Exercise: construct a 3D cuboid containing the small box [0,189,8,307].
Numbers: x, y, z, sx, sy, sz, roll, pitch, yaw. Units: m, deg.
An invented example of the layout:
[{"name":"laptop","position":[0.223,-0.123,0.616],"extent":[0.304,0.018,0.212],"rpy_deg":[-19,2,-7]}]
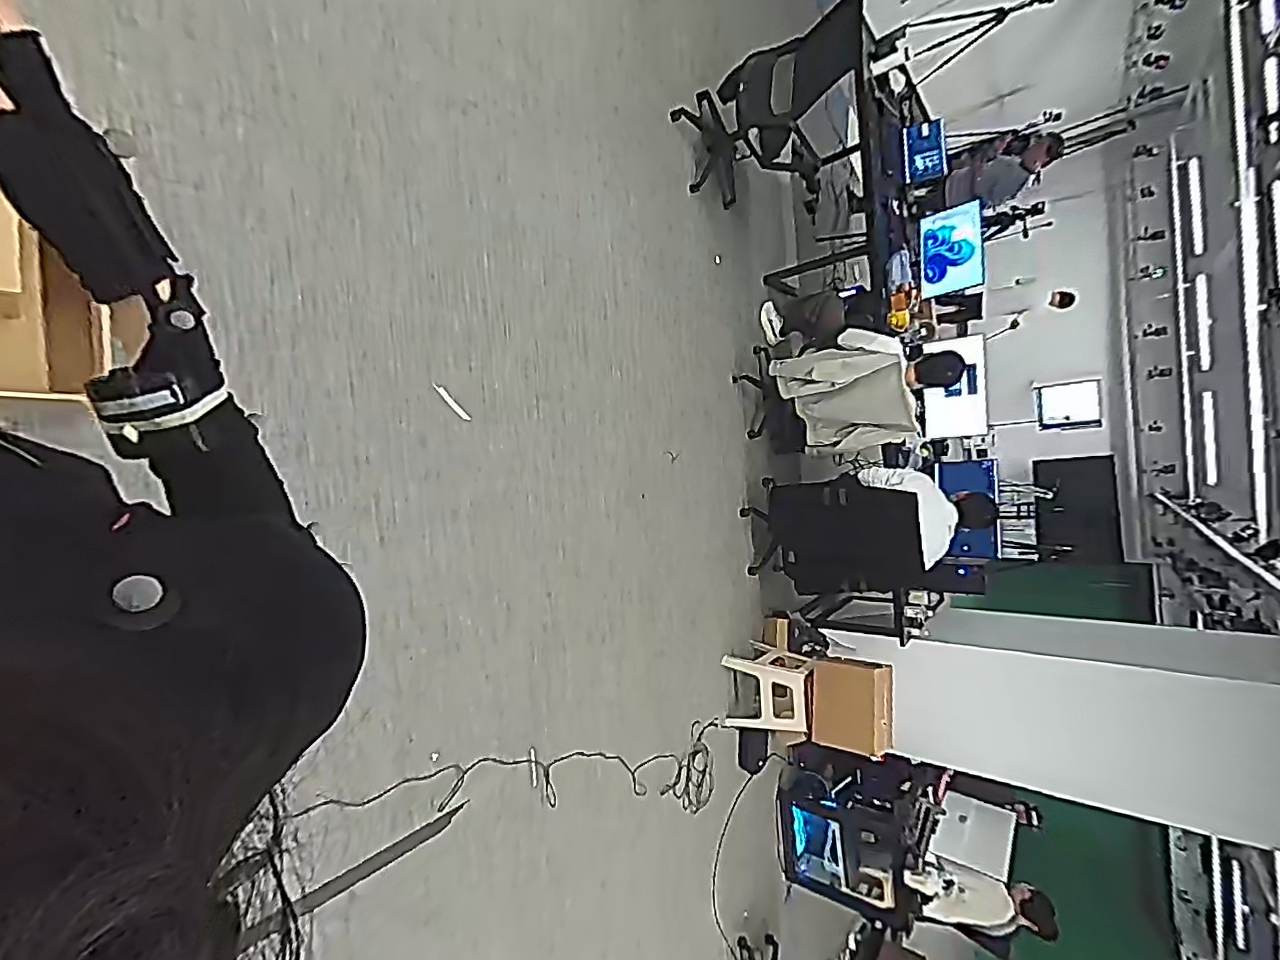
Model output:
[{"name":"small box","position":[-1.169,-0.398,0.887],"extent":[0.168,0.176,0.179],"rpy_deg":[-1,89,-49]}]
